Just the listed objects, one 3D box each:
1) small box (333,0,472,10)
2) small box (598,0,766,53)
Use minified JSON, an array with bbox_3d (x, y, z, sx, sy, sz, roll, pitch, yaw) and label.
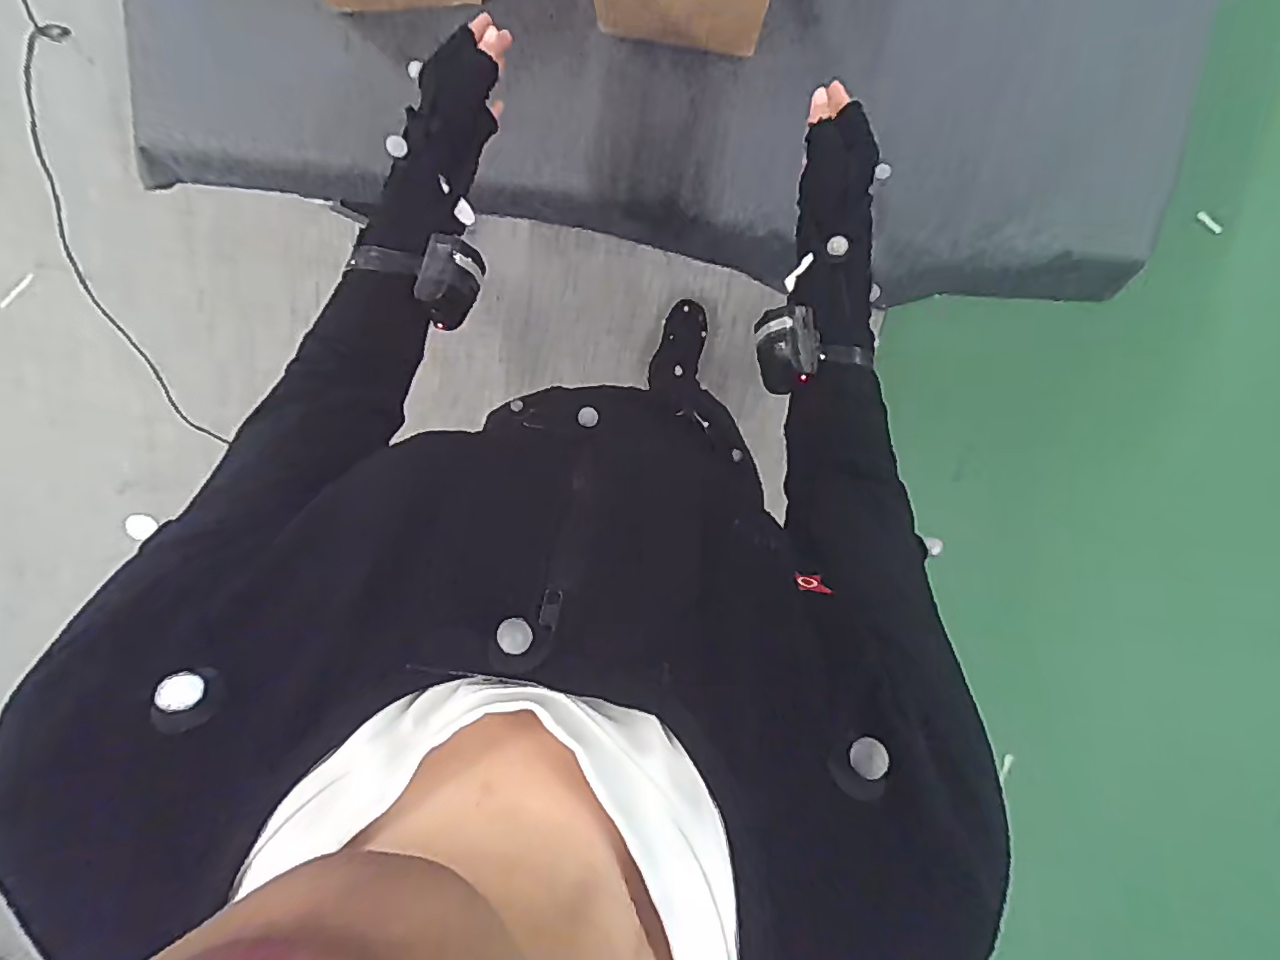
[{"bbox_3d":[-0.264,-0.593,0.516,0.179,0.176,0.168,-1,103,2],"label":"small box"},{"bbox_3d":[0.050,-0.550,0.513,0.179,0.176,0.168,9,102,0],"label":"small box"}]
